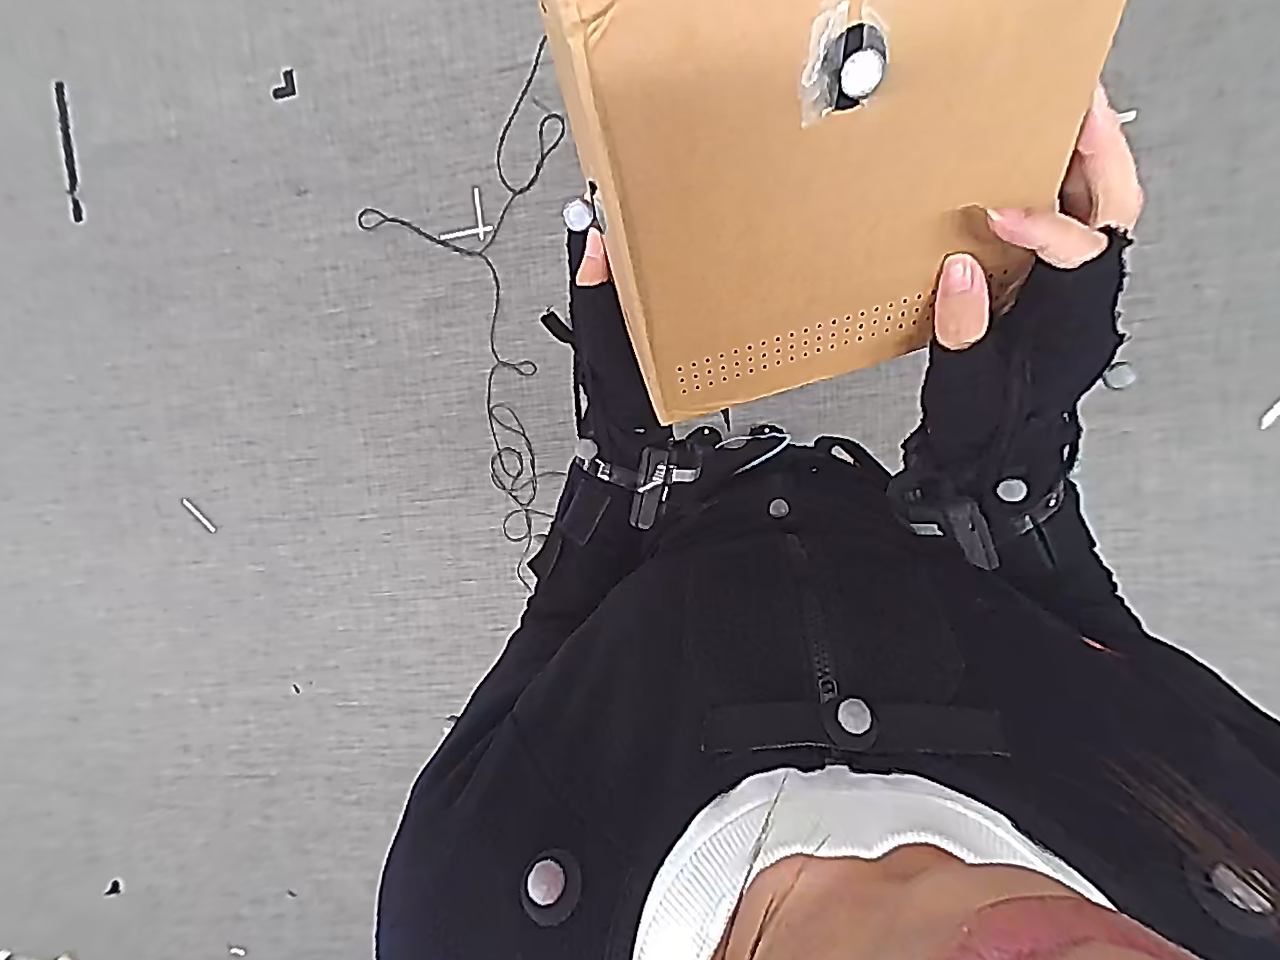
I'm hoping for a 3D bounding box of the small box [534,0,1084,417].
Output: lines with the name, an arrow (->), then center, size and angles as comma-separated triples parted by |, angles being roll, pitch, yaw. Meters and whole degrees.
small box -> 0.063, -0.154, 0.258 | 0.179, 0.168, 0.176 | -16, 138, 1
